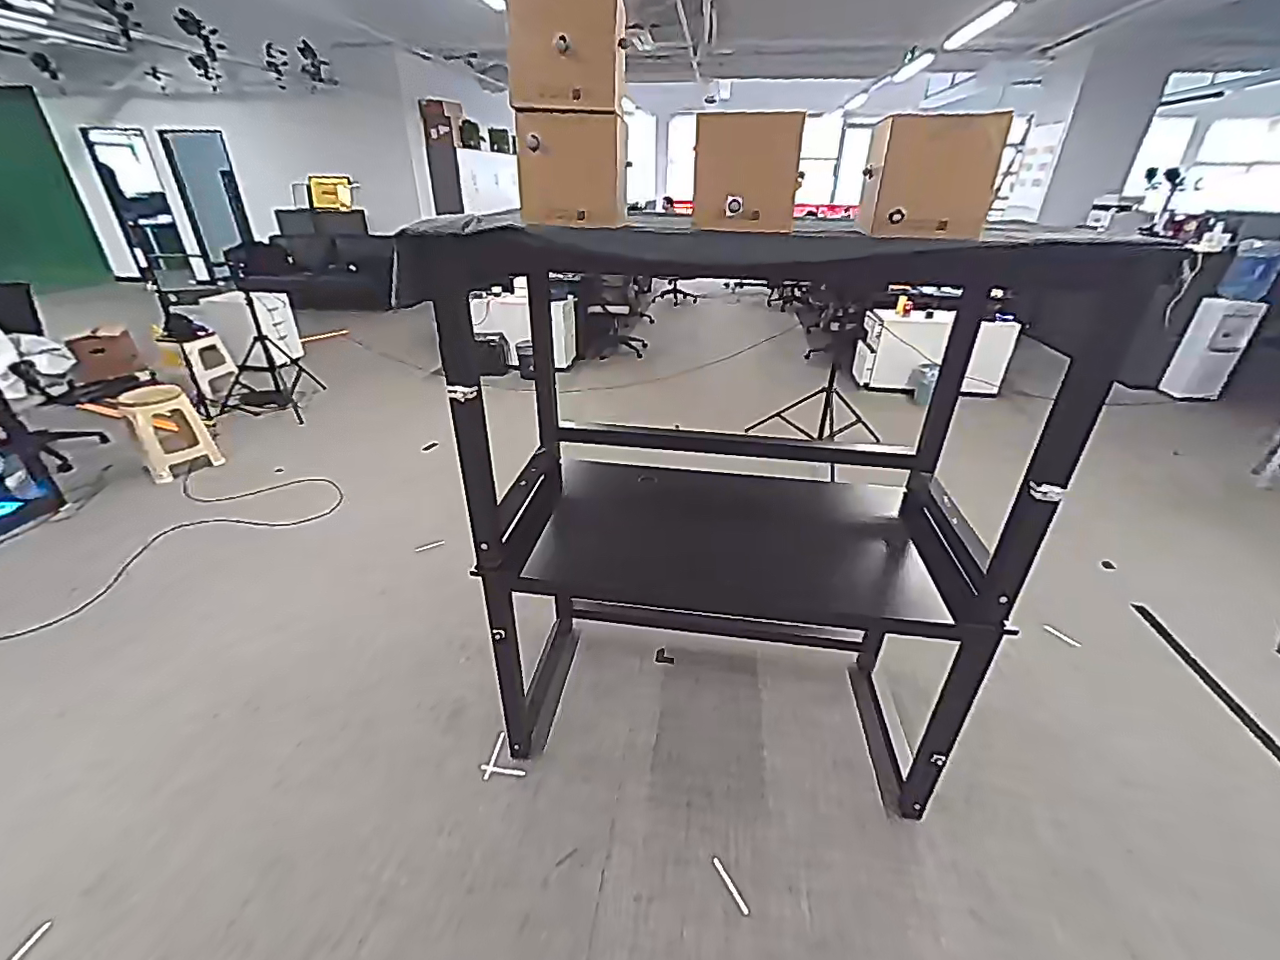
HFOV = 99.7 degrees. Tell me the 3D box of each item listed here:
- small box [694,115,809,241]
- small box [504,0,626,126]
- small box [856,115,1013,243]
[{"bbox_3d":[0.183,-0.505,0.914,0.168,0.176,0.179,5,28,10],"label":"small box"},{"bbox_3d":[-0.110,-0.673,0.864,0.168,0.176,0.179,3,28,0],"label":"small box"},{"bbox_3d":[0.465,-0.486,0.886,0.168,0.176,0.179,6,28,9],"label":"small box"}]
